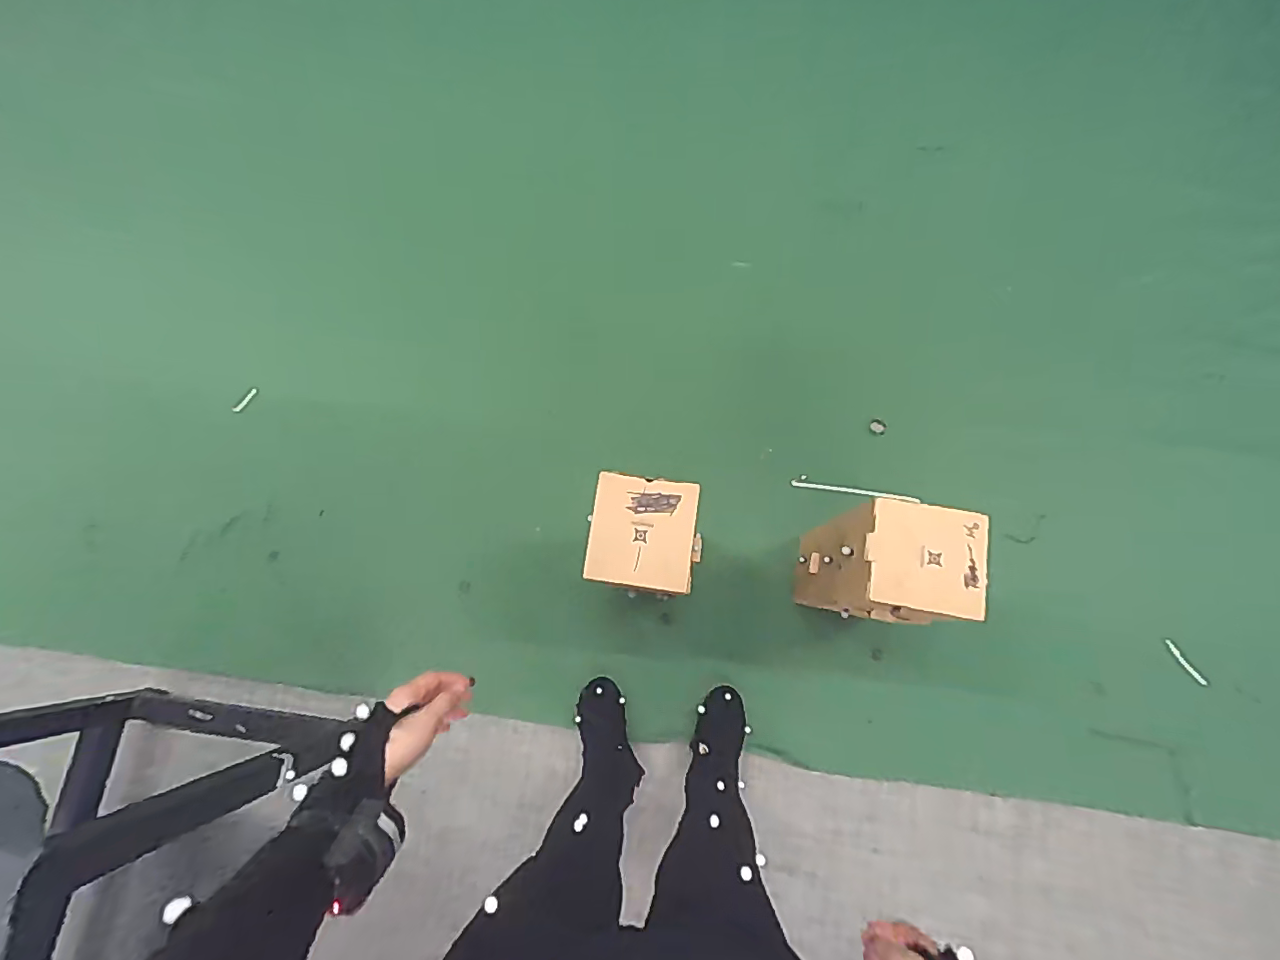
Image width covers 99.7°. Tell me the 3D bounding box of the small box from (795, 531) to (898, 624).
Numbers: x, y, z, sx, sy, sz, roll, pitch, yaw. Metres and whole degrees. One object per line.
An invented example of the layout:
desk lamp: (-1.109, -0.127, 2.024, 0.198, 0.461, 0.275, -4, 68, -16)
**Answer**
small box: (0.468, 0.220, 1.218, 0.179, 0.176, 0.168, 11, 78, 4)

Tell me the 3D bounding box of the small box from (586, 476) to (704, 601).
small box: (0.010, 0.106, 0.922, 0.168, 0.176, 0.179, 8, 77, 4)

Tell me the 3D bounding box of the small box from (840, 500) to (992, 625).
small box: (0.447, 0.143, 0.900, 0.179, 0.176, 0.168, 10, 77, 5)
